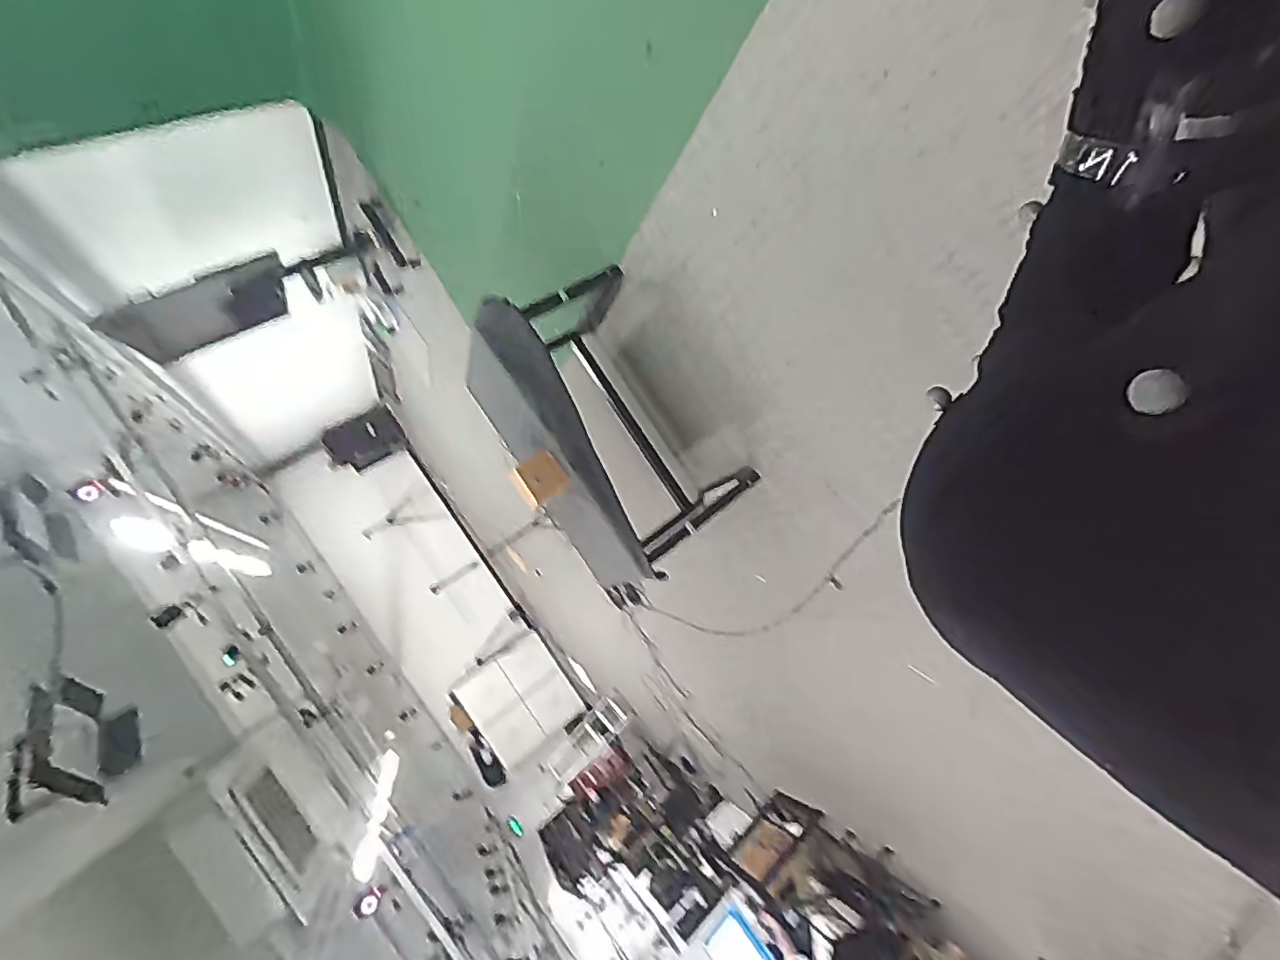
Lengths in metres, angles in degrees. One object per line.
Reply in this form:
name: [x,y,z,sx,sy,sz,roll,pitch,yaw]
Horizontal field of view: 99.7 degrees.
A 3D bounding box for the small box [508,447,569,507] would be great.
small box: [-0.420,-0.012,2.249,0.179,0.176,0.168,57,155,-1]
